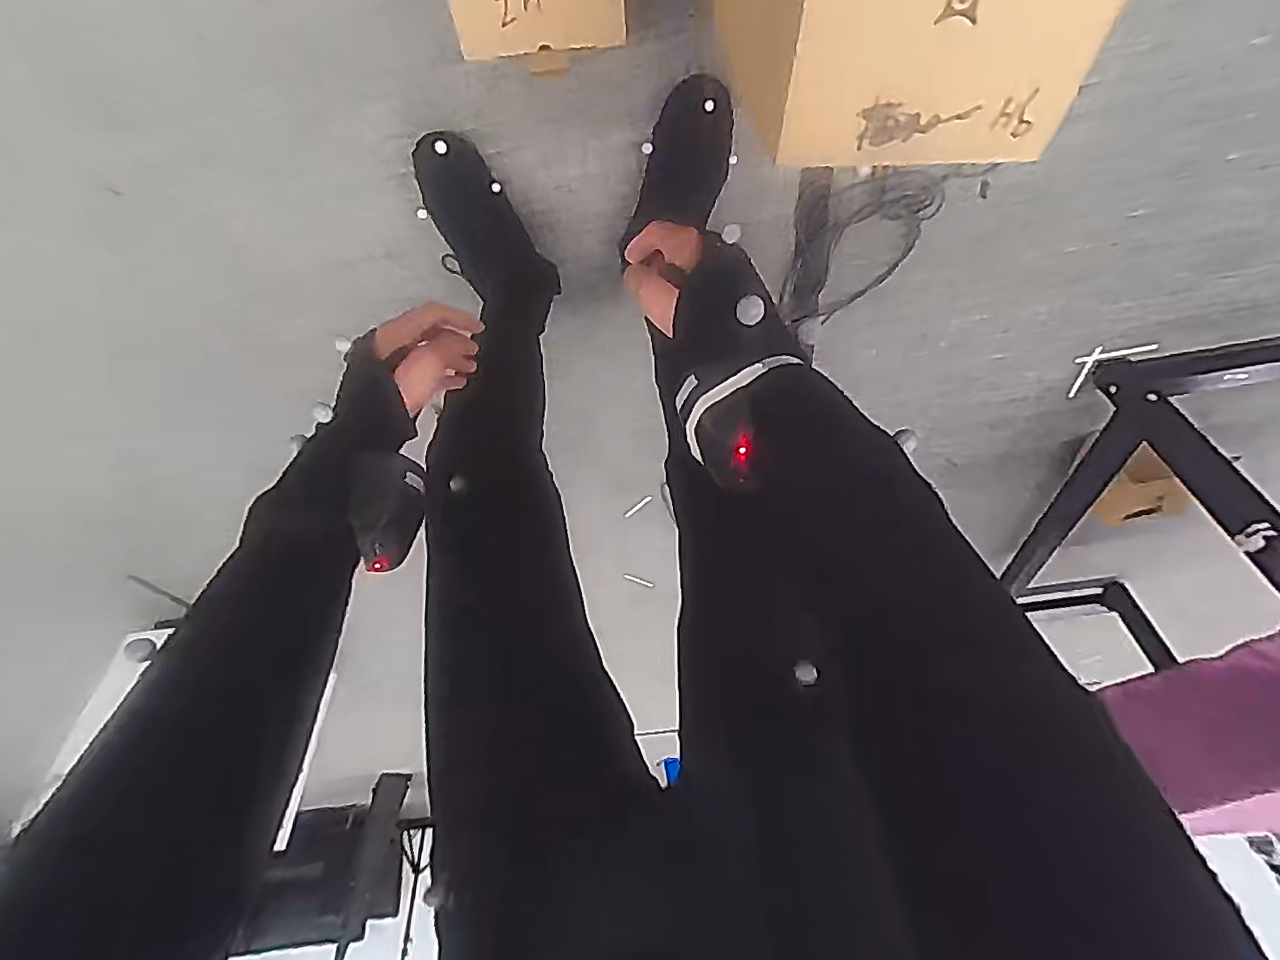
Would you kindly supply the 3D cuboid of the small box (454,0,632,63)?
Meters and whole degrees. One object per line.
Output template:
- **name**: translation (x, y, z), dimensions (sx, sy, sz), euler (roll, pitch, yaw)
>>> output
- **small box**: translation (-0.098, -0.537, 0.522), dimensions (0.168, 0.176, 0.179), euler (-4, 141, 2)

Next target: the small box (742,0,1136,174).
- **small box**: translation (0.162, -0.303, 0.314), dimensions (0.168, 0.176, 0.179), euler (-2, 140, -2)
